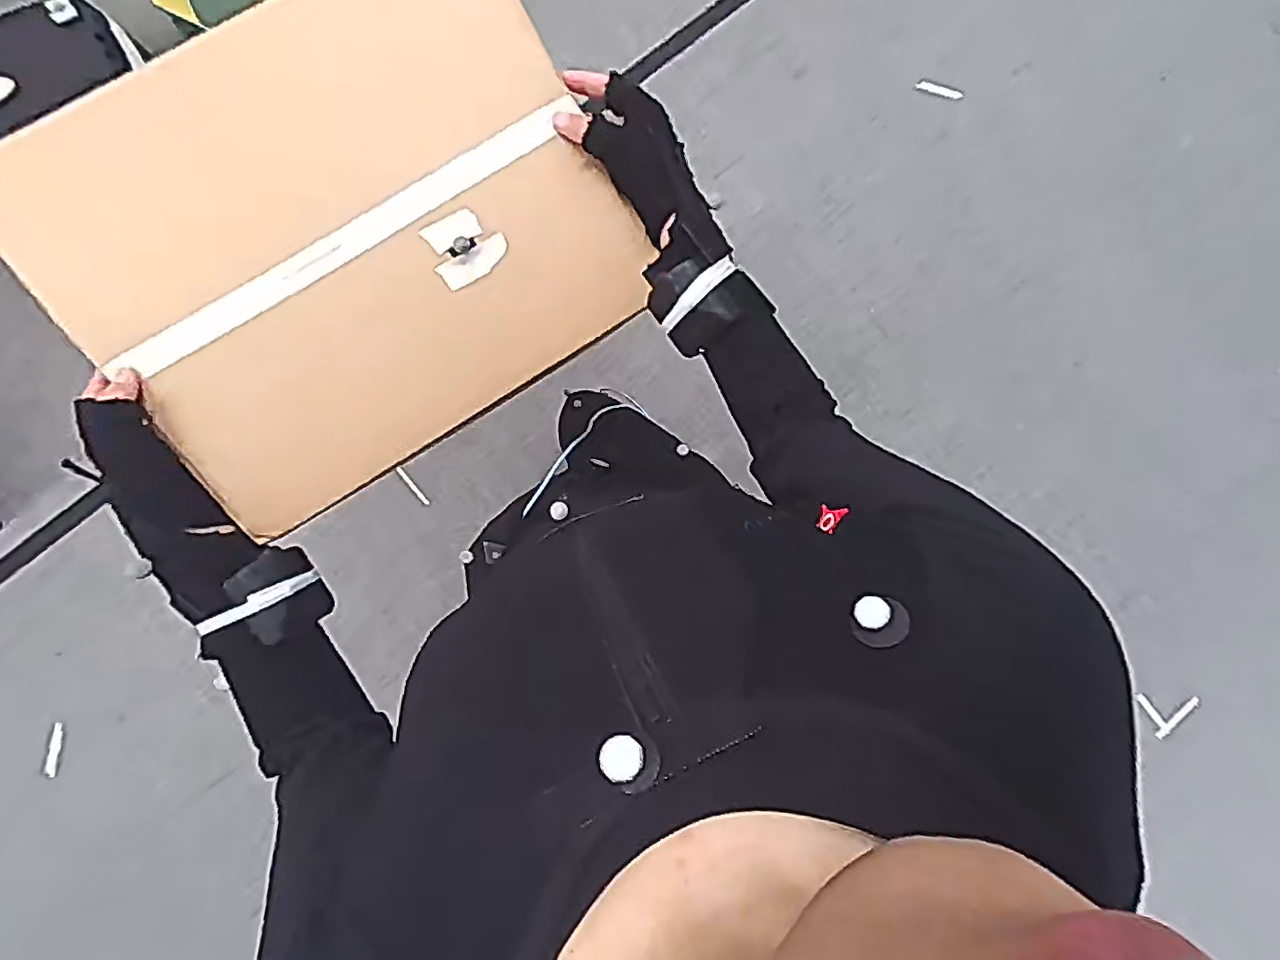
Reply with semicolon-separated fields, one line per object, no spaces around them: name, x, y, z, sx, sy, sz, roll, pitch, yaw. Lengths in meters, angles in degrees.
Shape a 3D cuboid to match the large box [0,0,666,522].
large box;-0.247;-0.216;0.568;0.408;0.320;0.320;-33;105;-6
